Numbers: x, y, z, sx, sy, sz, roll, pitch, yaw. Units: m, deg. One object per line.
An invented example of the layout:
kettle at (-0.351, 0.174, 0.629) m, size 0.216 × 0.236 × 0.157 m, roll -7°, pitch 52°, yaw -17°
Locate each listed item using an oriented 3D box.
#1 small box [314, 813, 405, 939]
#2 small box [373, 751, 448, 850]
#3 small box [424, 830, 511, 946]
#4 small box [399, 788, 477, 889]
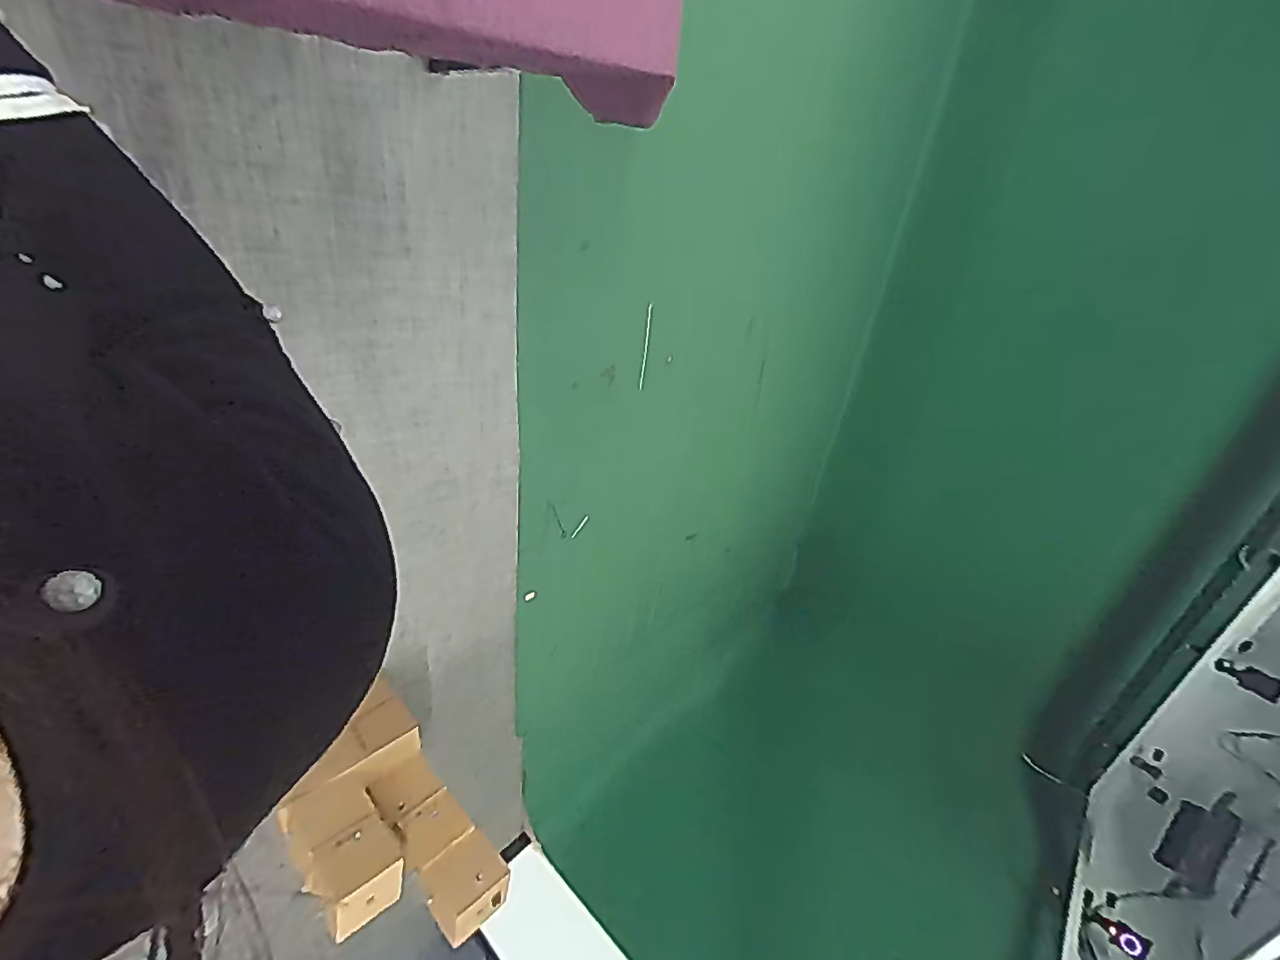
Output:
small box at (-0.751, 1.046, 1.443) m, size 0.168 × 0.176 × 0.179 m, roll -14°, pitch 125°, yaw -47°
small box at (-0.739, 1.028, 1.744) m, size 0.179 × 0.176 × 0.168 m, roll -24°, pitch 134°, yaw -42°
small box at (-0.502, 1.174, 1.572) m, size 0.179 × 0.176 × 0.168 m, roll -17°, pitch 128°, yaw -46°
small box at (-0.619, 1.096, 1.658) m, size 0.168 × 0.176 × 0.179 m, roll -22°, pitch 131°, yaw -43°
